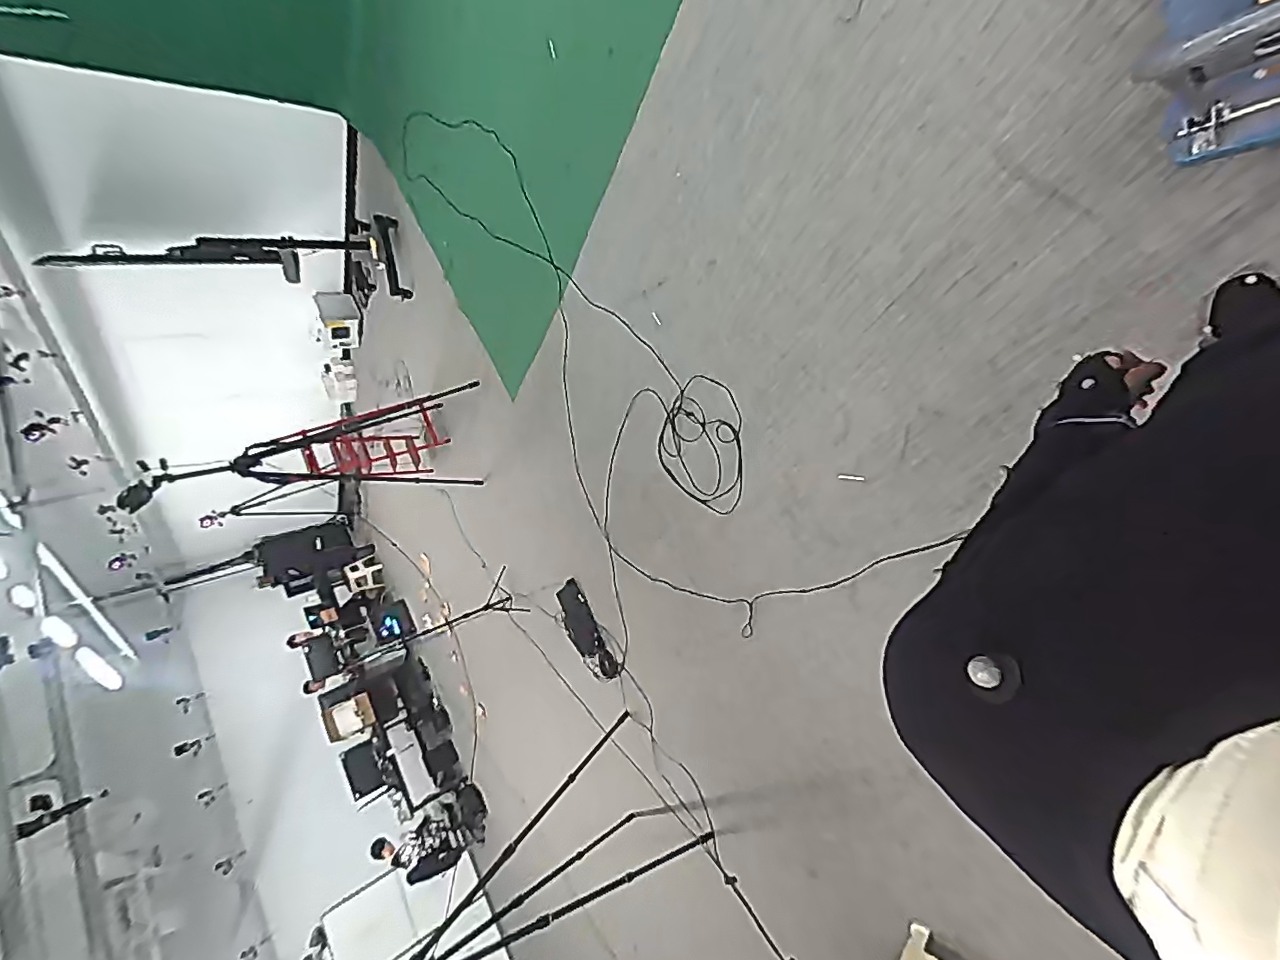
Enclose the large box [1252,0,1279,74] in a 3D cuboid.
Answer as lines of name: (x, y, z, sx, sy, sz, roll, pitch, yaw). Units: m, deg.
large box: (1.009, -0.832, 0.669, 0.320, 0.320, 0.408, 3, 104, 51)
